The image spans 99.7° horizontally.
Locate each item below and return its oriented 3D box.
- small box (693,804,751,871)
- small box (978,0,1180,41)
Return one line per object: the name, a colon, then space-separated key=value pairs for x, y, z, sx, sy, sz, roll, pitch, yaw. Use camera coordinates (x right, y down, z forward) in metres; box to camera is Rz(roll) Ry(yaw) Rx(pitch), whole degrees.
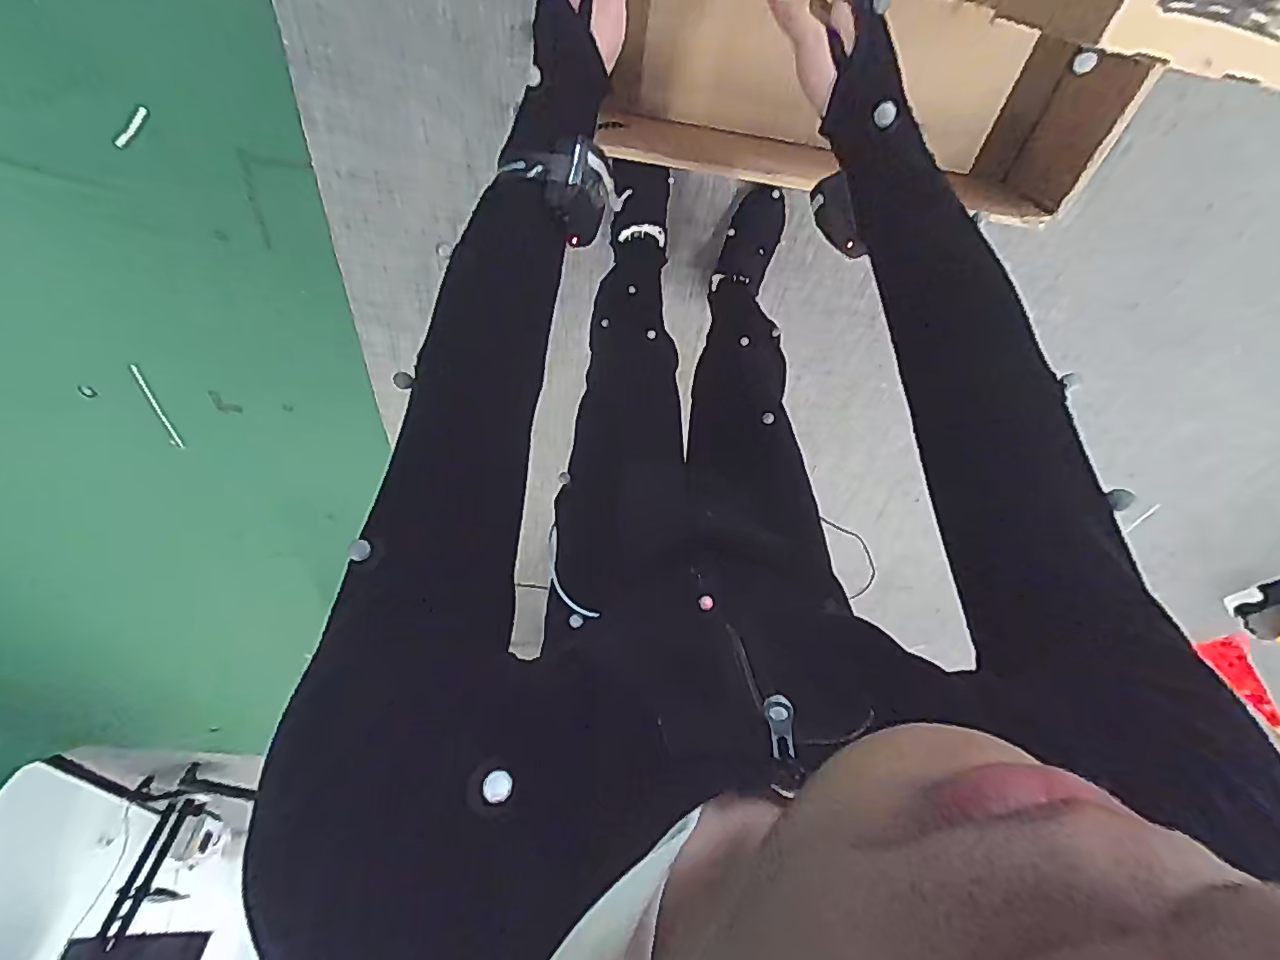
small box: x=0.277 y=1.240 z=1.874 sx=0.168 sy=0.176 sz=0.179 roll=4 pitch=137 yaw=-1
small box: x=0.409 y=-0.533 z=0.485 sx=0.168 sy=0.176 sz=0.179 roll=7 pitch=137 yaw=-6
